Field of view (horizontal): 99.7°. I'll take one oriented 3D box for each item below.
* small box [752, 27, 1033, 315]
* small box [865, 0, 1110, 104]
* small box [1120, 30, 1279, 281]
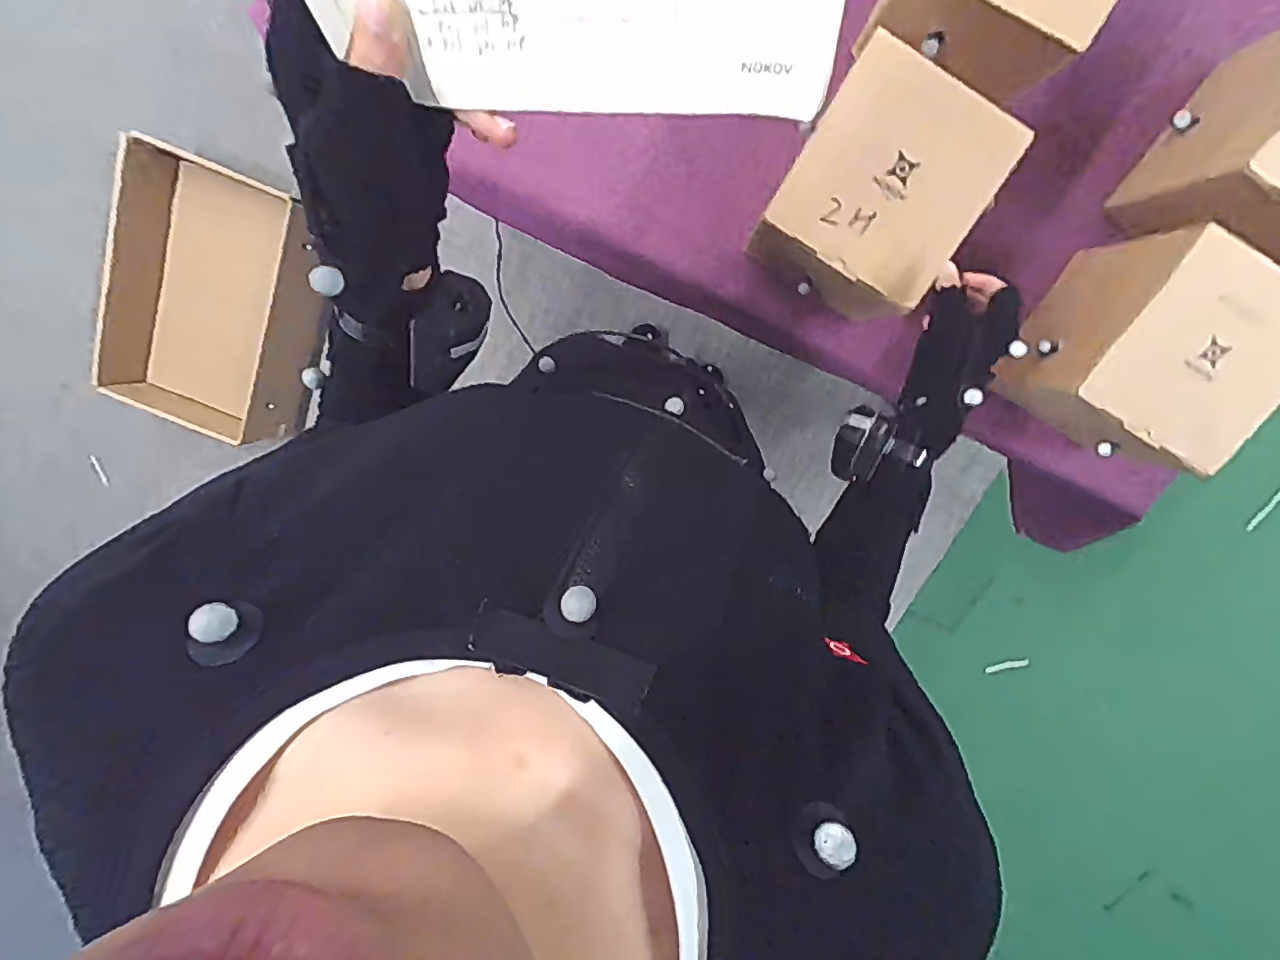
[{"bbox_3d":[0.232,-0.289,0.556,0.168,0.176,0.179,31,104,-4],"label":"small box"},{"bbox_3d":[0.336,-0.485,0.501,0.168,0.176,0.179,26,105,-3],"label":"small box"},{"bbox_3d":[0.630,-0.314,0.521,0.168,0.176,0.179,33,105,-5],"label":"small box"}]
